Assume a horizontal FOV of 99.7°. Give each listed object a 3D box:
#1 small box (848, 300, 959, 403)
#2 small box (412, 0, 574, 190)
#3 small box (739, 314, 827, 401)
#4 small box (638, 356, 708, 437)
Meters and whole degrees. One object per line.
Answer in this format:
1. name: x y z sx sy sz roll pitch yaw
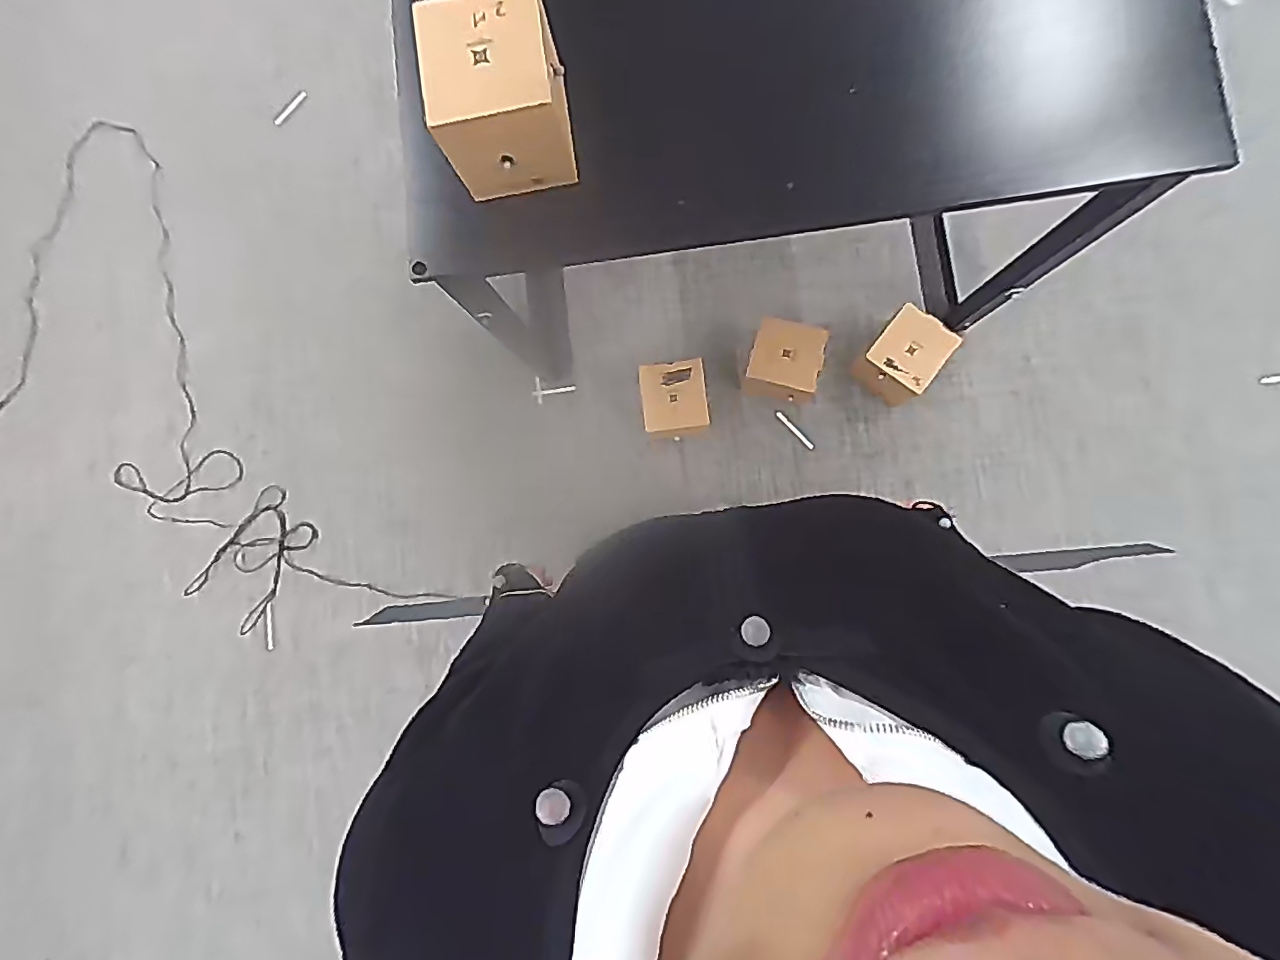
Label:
1. small box: 0.675 -0.328 1.412 0.168 0.176 0.179 37 90 6
2. small box: -0.197 -0.542 0.768 0.168 0.176 0.179 -9 85 4
3. small box: 0.374 -0.317 1.440 0.179 0.176 0.168 15 87 7
4. small box: 0.089 -0.220 1.458 0.168 0.176 0.179 -7 87 5
